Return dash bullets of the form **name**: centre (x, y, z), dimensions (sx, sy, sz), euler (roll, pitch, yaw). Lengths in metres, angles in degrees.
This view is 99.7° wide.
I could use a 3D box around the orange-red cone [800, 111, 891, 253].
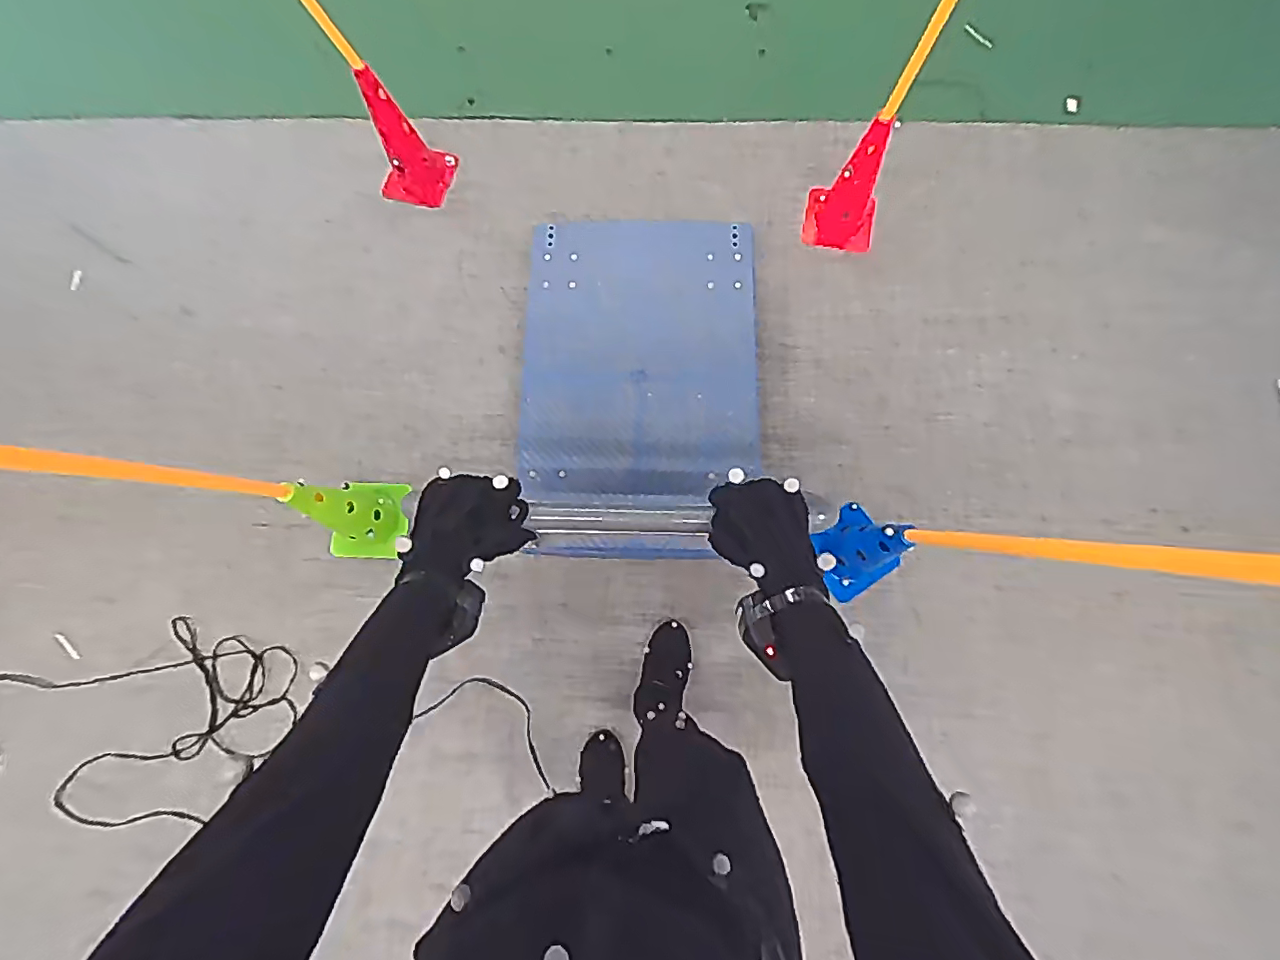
- **orange-red cone**: centre (0.580, -0.808, 1.438), dimensions (0.198, 0.360, 0.199), euler (13, 78, 6)
